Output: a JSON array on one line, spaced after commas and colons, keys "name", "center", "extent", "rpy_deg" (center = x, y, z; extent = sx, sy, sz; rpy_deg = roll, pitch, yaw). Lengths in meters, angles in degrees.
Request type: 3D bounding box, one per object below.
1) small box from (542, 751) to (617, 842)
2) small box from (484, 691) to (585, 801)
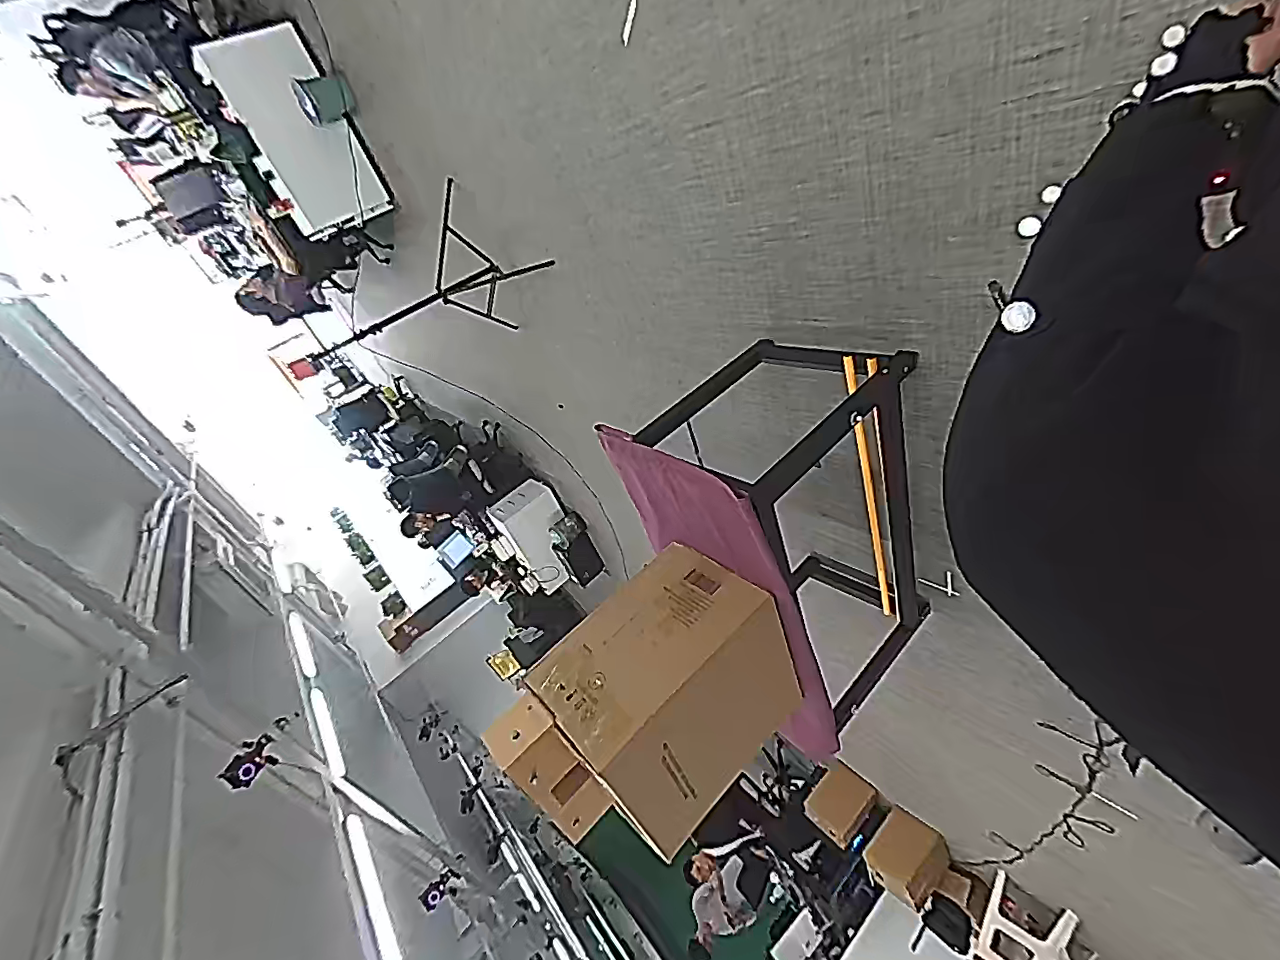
[{"name": "small box", "center": [-0.194, 0.902, 1.588], "extent": [0.168, 0.176, 0.179], "rpy_deg": [21, 142, 48]}, {"name": "small box", "center": [-0.283, 0.711, 1.464], "extent": [0.168, 0.176, 0.179], "rpy_deg": [19, 144, 52]}]
